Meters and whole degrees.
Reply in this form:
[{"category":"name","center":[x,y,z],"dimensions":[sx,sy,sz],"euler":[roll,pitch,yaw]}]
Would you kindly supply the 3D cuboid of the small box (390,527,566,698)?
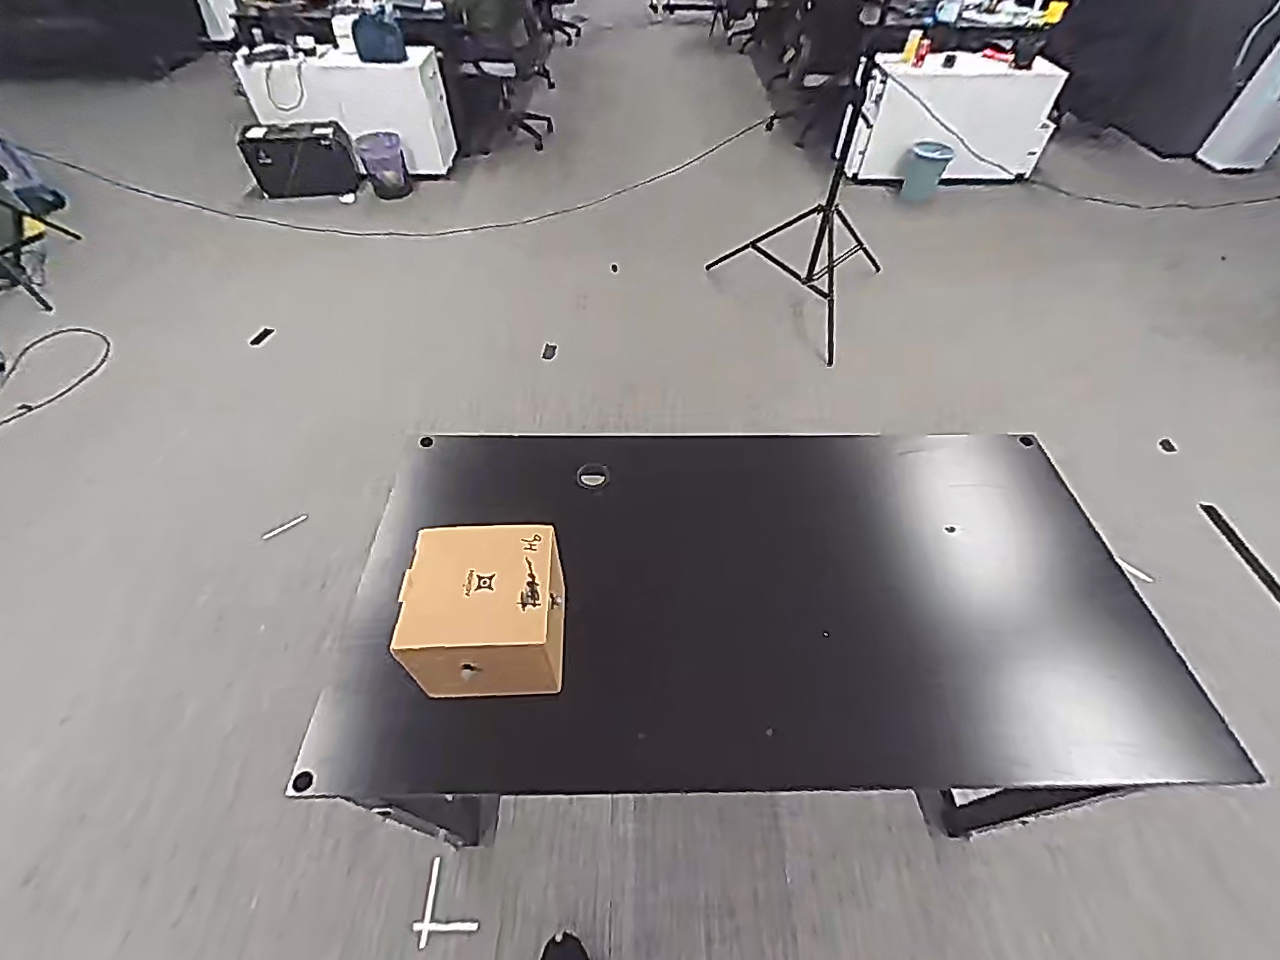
[{"category":"small box","center":[-0.199,0.180,0.721],"dimensions":[0.179,0.176,0.168],"euler":[-2,50,-2]}]
